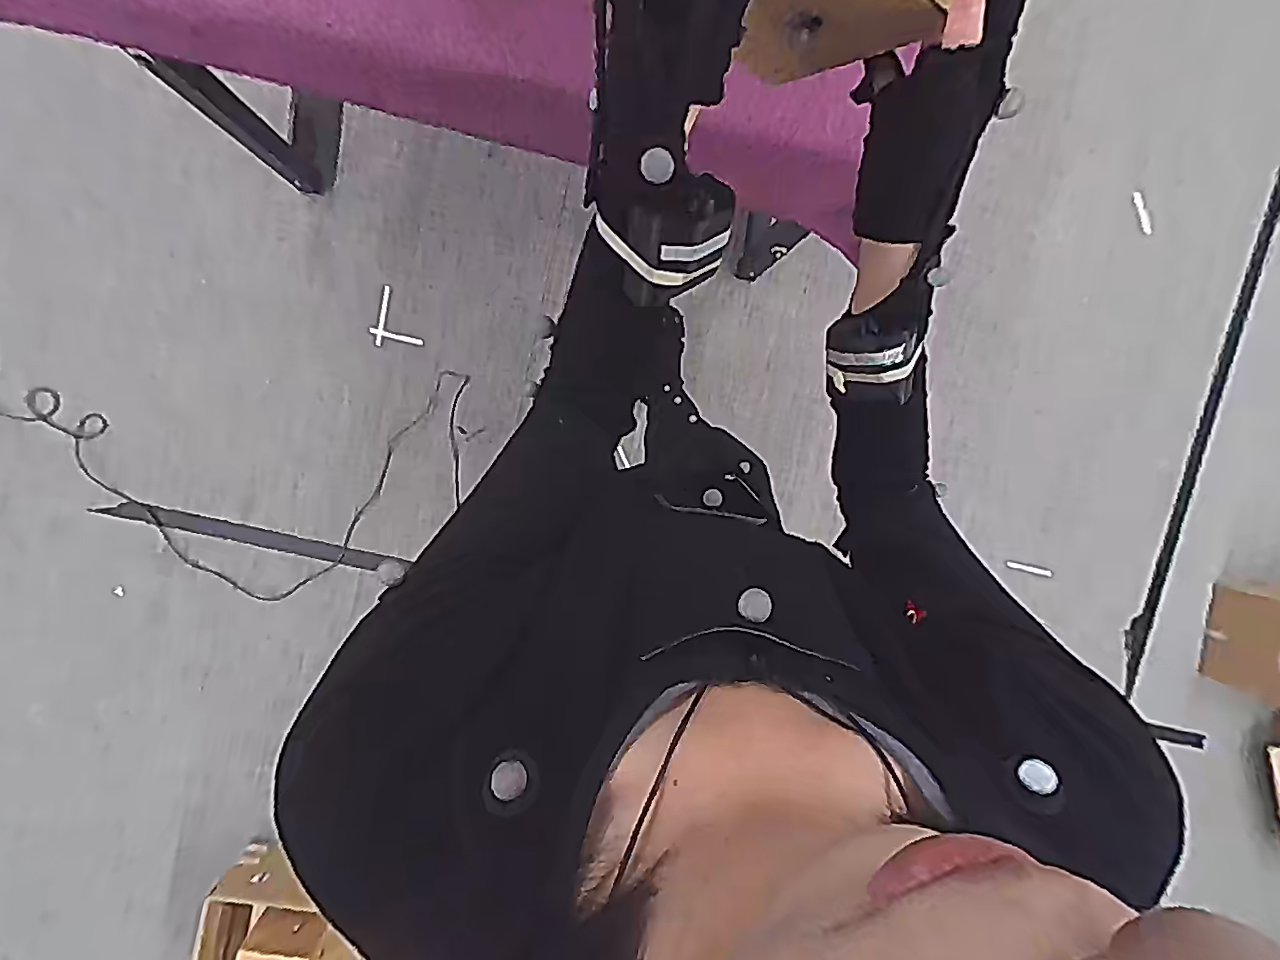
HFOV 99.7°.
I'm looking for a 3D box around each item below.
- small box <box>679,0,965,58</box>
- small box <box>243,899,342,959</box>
[{"bbox_3d":[0.093,-0.367,0.286,0.179,0.176,0.168,12,107,-29],"label":"small box"},{"bbox_3d":[-0.914,1.247,1.418,0.179,0.176,0.168,13,93,-8],"label":"small box"}]
